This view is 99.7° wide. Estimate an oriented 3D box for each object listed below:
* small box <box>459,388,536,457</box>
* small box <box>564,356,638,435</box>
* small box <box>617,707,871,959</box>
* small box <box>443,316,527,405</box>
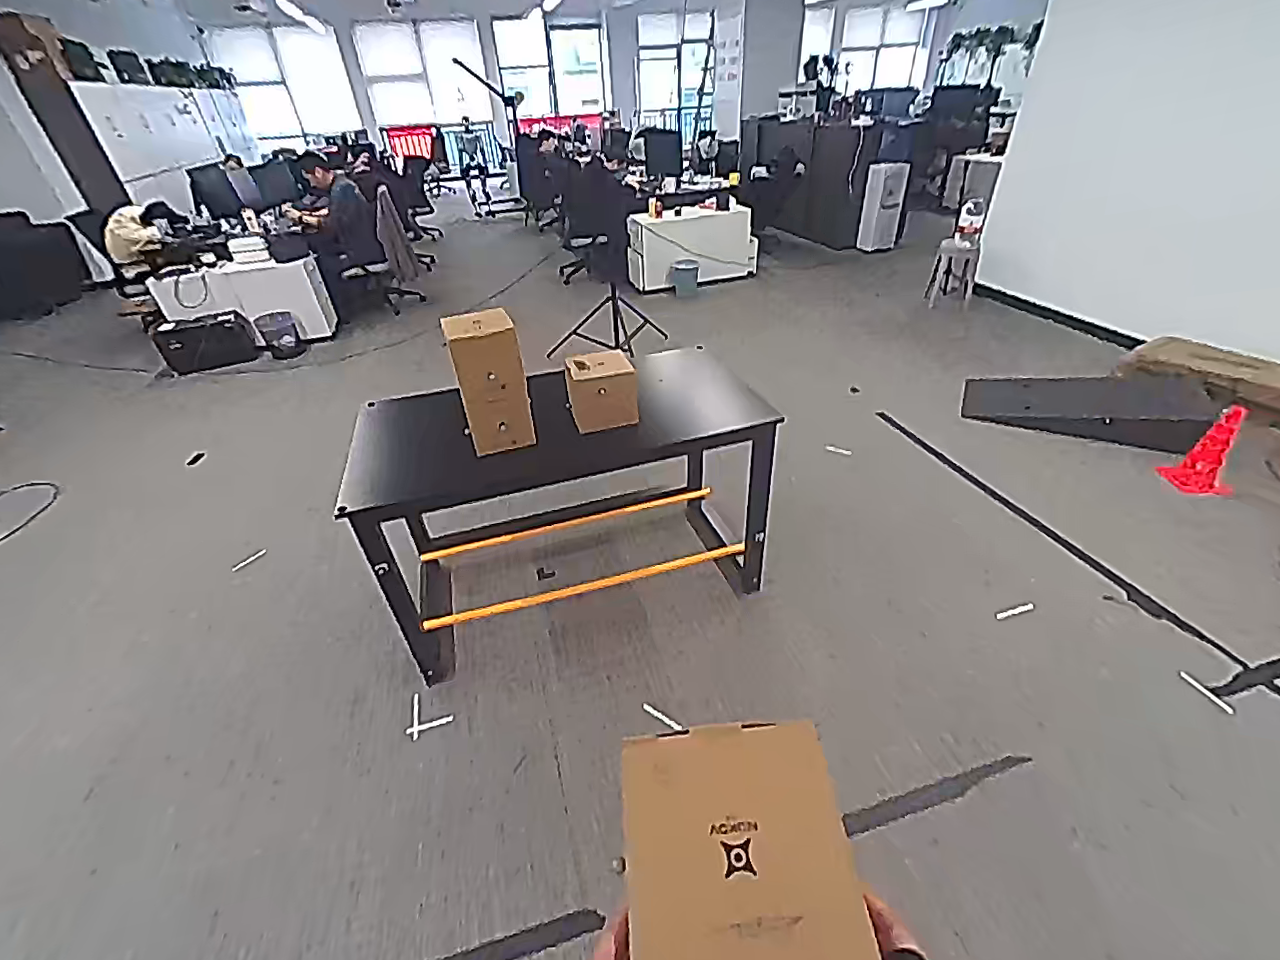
[{"bbox_3d":[-0.399,-0.179,1.522,0.168,0.176,0.179,-16,37,-15],"label":"small box"},{"bbox_3d":[-0.114,-0.246,1.585,0.179,0.176,0.168,-12,36,-12],"label":"small box"},{"bbox_3d":[0.069,0.318,0.464,0.168,0.176,0.179,-5,48,-1],"label":"small box"},{"bbox_3d":[-0.409,-0.317,1.430,0.168,0.176,0.179,-17,37,-16],"label":"small box"}]
